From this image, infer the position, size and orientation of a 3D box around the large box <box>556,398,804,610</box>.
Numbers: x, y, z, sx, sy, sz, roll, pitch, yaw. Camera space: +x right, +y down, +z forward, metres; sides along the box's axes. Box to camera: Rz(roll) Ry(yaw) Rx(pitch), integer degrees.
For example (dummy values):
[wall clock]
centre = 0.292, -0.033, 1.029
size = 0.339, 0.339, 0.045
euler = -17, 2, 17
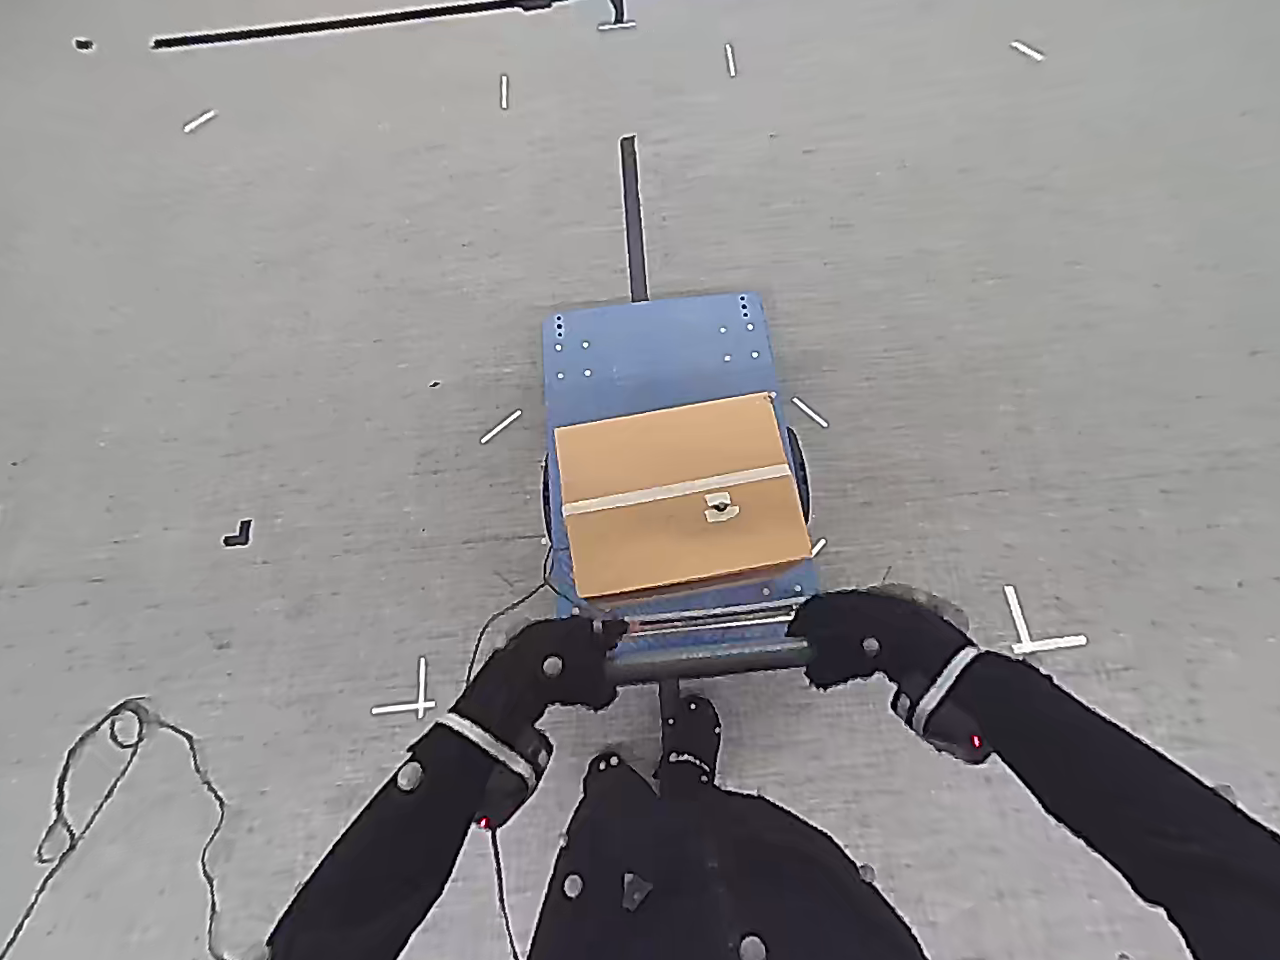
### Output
[large box]
centre = 0.067, 0.068, 1.113
size = 0.408, 0.320, 0.320
euler = -10, 73, -2
